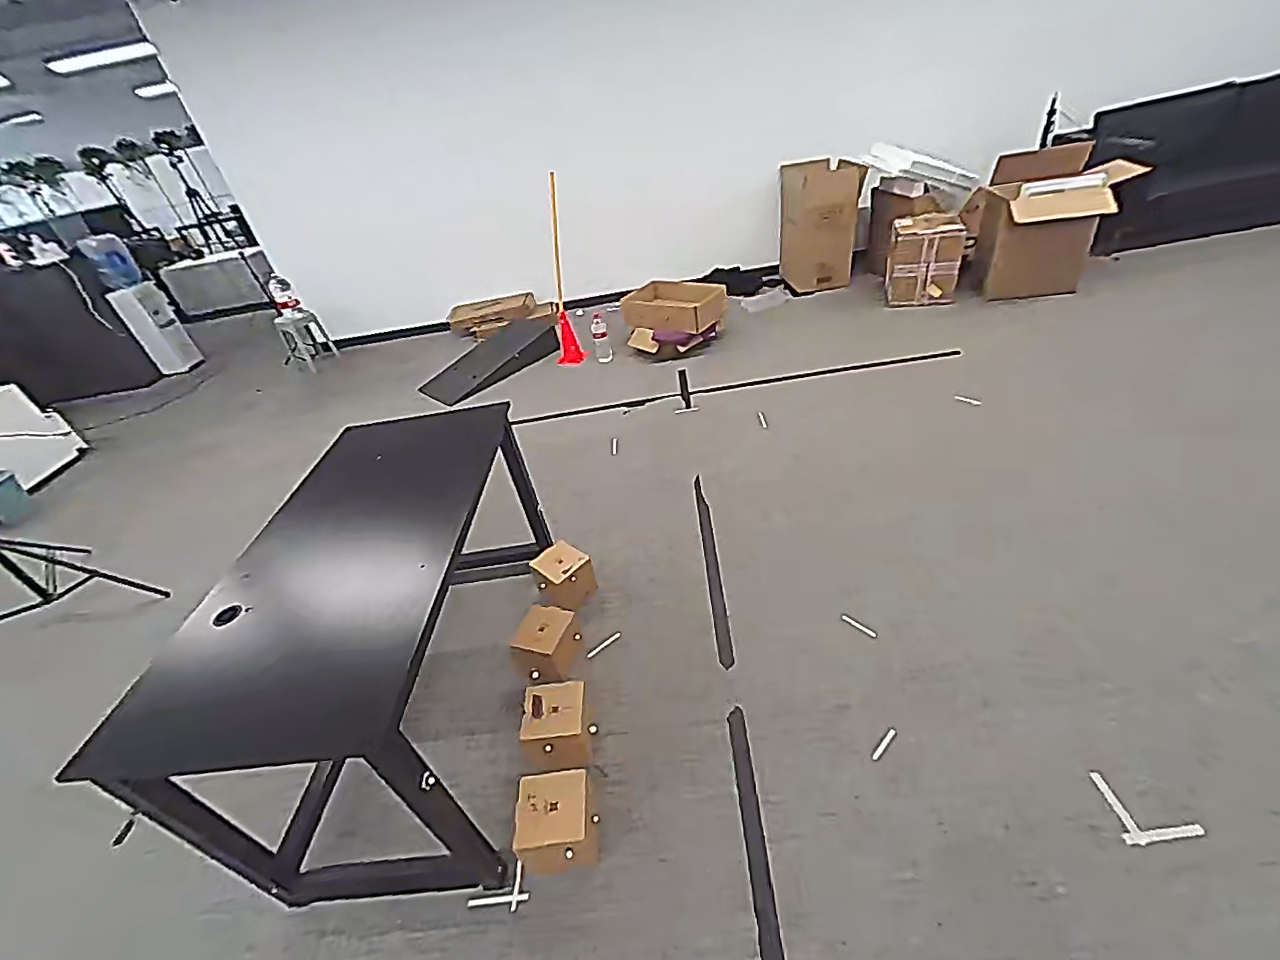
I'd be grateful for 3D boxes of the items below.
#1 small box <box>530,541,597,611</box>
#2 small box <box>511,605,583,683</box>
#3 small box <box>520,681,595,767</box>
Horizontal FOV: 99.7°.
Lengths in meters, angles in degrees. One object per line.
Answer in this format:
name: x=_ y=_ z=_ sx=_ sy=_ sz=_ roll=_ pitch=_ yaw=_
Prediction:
small box: x=-0.289 y=0.370 z=2.071 sx=0.179 sy=0.176 sz=0.168 roll=23 pitch=48 yaw=38
small box: x=-0.306 y=0.555 z=1.831 sx=0.168 sy=0.176 sz=0.179 roll=4 pitch=40 yaw=22
small box: x=-0.235 y=0.720 z=1.589 sx=0.179 sy=0.176 sz=0.168 roll=-8 pitch=36 yaw=3
